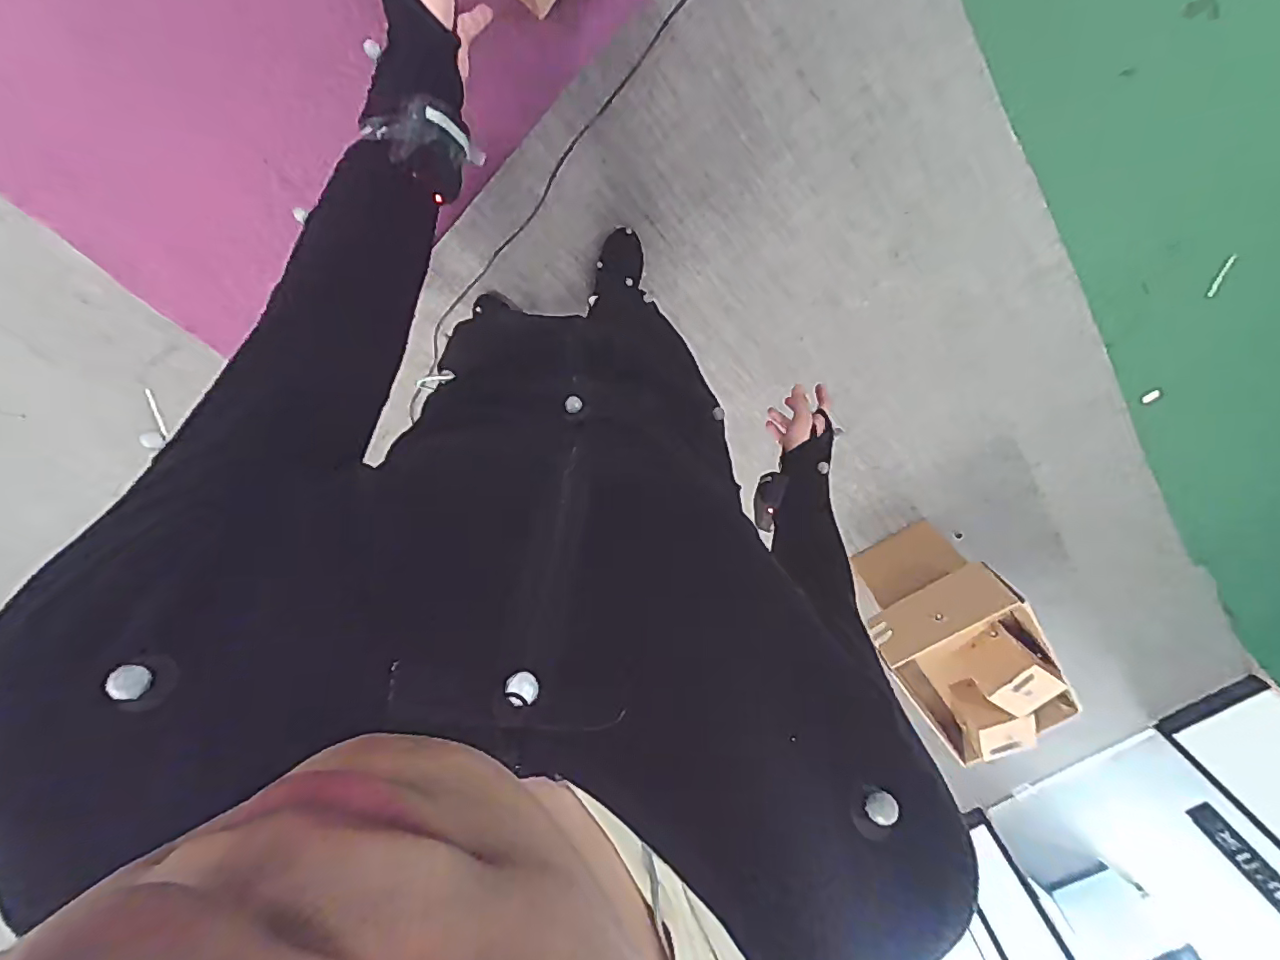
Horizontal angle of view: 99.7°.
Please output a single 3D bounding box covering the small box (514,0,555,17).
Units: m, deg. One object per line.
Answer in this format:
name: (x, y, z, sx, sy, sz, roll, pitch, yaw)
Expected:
small box: (-0.112, -0.588, 0.492, 0.168, 0.176, 0.179, 37, 110, -20)
